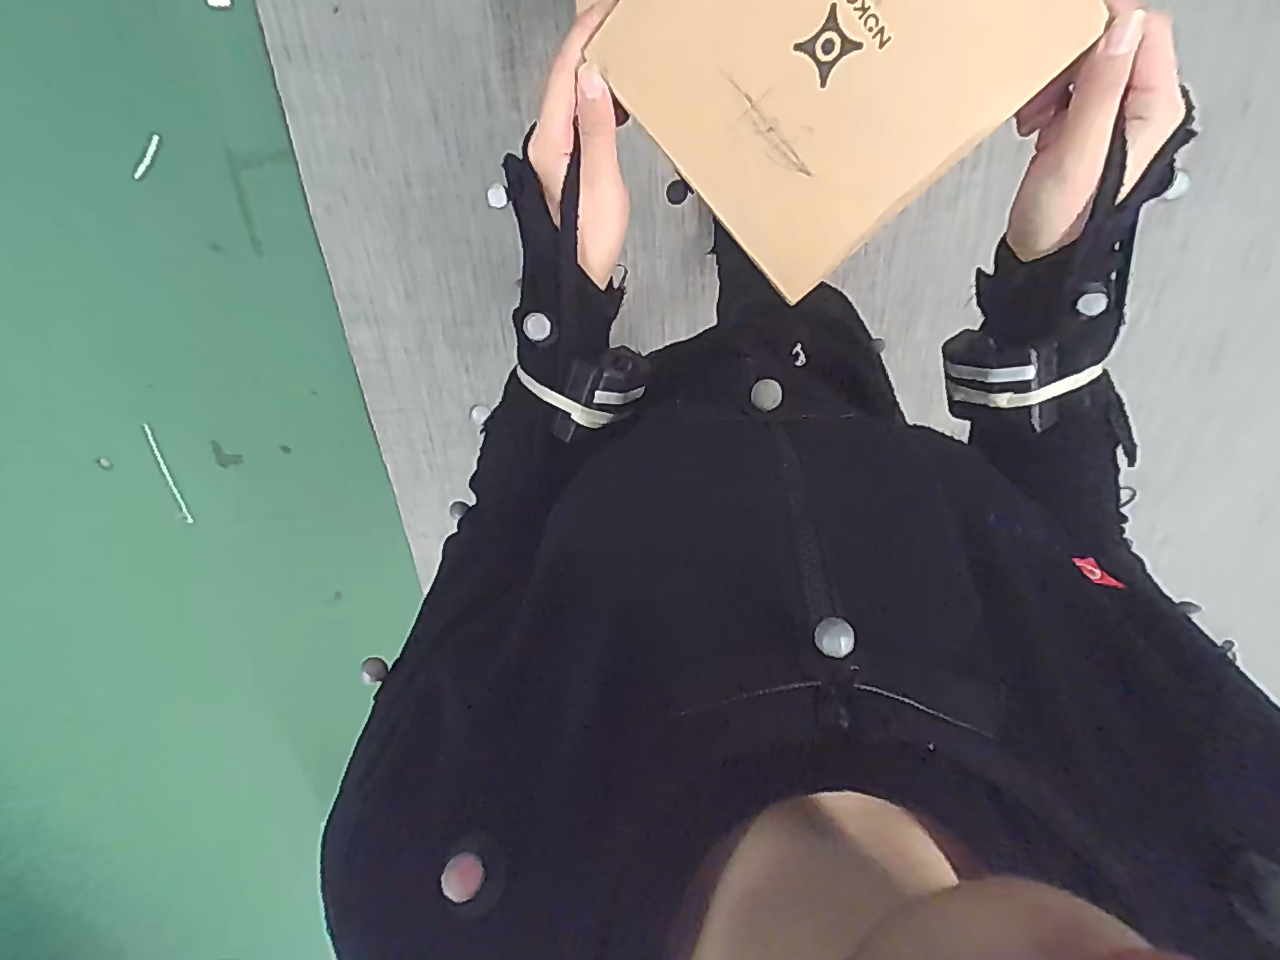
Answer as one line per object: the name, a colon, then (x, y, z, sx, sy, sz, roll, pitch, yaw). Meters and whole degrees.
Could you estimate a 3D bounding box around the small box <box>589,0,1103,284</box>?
small box: (0.098, -0.249, 0.321, 0.179, 0.176, 0.168, -40, 104, 24)
